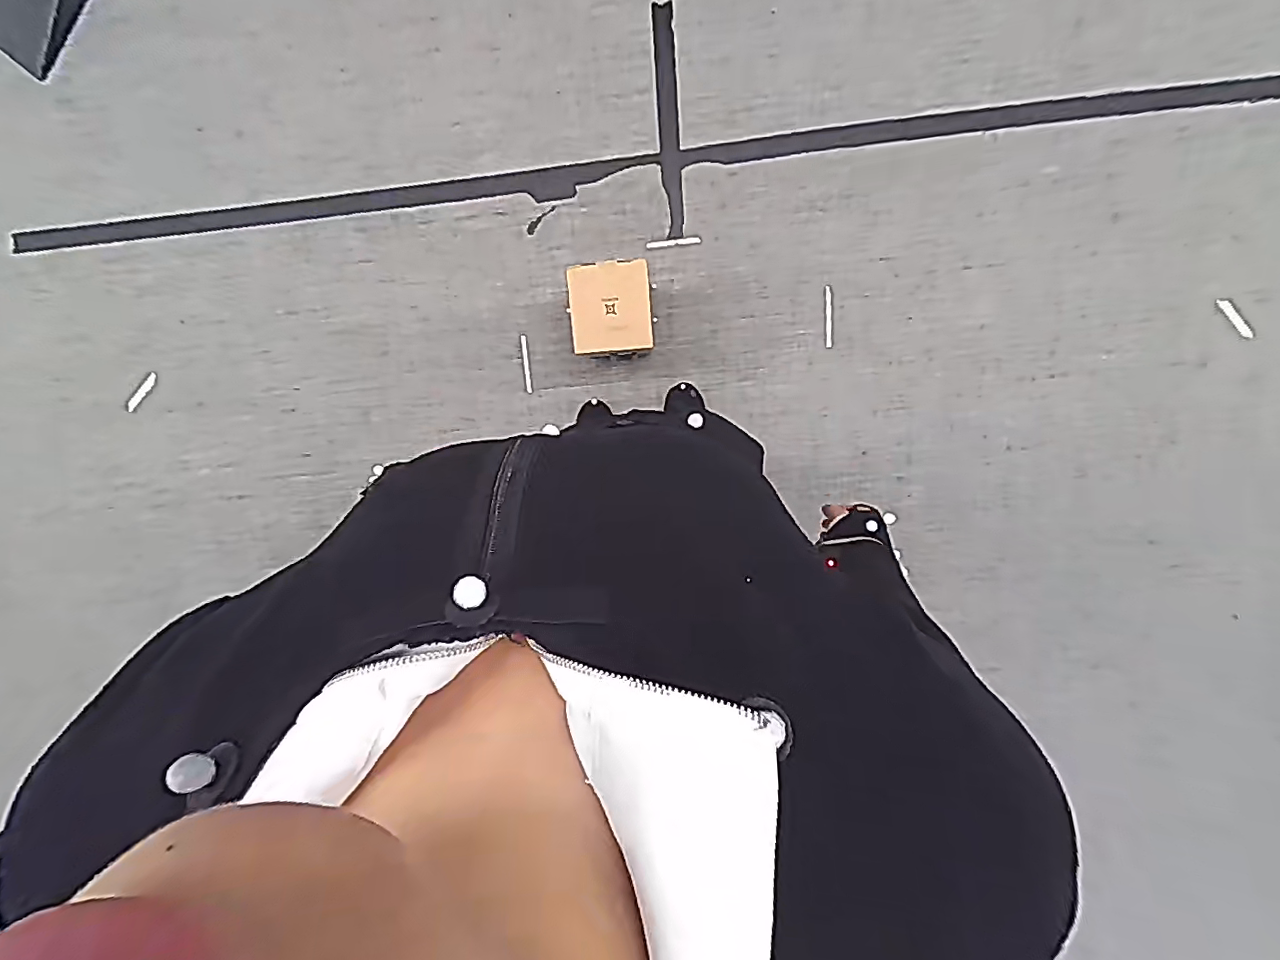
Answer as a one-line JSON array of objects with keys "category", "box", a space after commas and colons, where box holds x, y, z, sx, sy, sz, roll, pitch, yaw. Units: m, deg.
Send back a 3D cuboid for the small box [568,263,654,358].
[{"category": "small box", "box": [-0.058, -0.364, 1.187, 0.168, 0.176, 0.179, -4, 102, 4]}]
